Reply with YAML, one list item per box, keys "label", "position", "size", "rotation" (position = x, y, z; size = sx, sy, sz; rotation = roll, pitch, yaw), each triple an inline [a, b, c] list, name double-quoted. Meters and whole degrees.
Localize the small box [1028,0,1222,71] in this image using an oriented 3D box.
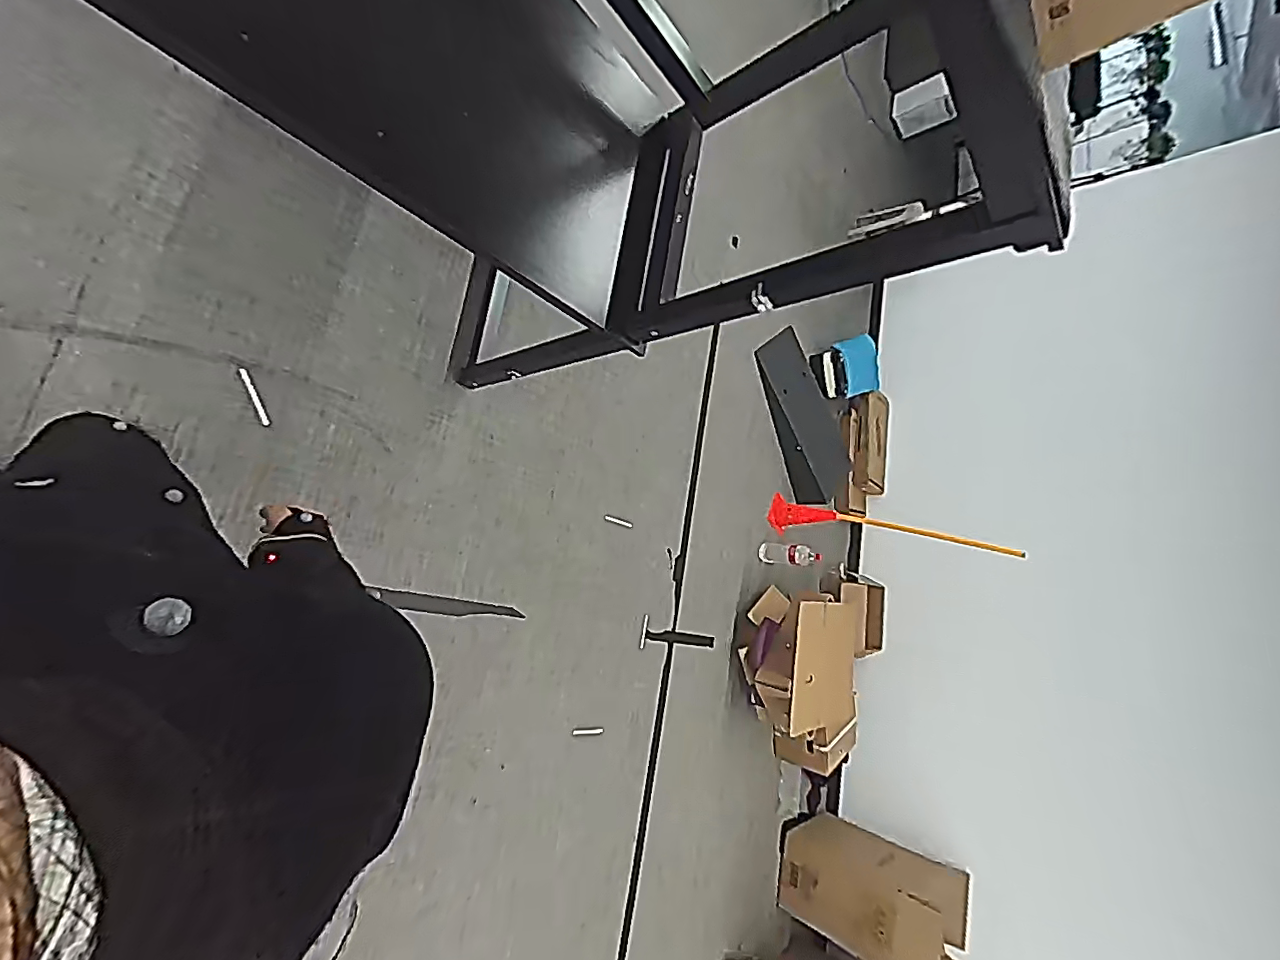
- label: "small box"
  position: [0.429, -0.514, 0.456]
  size: [0.168, 0.176, 0.179]
  rotation: [24, 71, -43]
